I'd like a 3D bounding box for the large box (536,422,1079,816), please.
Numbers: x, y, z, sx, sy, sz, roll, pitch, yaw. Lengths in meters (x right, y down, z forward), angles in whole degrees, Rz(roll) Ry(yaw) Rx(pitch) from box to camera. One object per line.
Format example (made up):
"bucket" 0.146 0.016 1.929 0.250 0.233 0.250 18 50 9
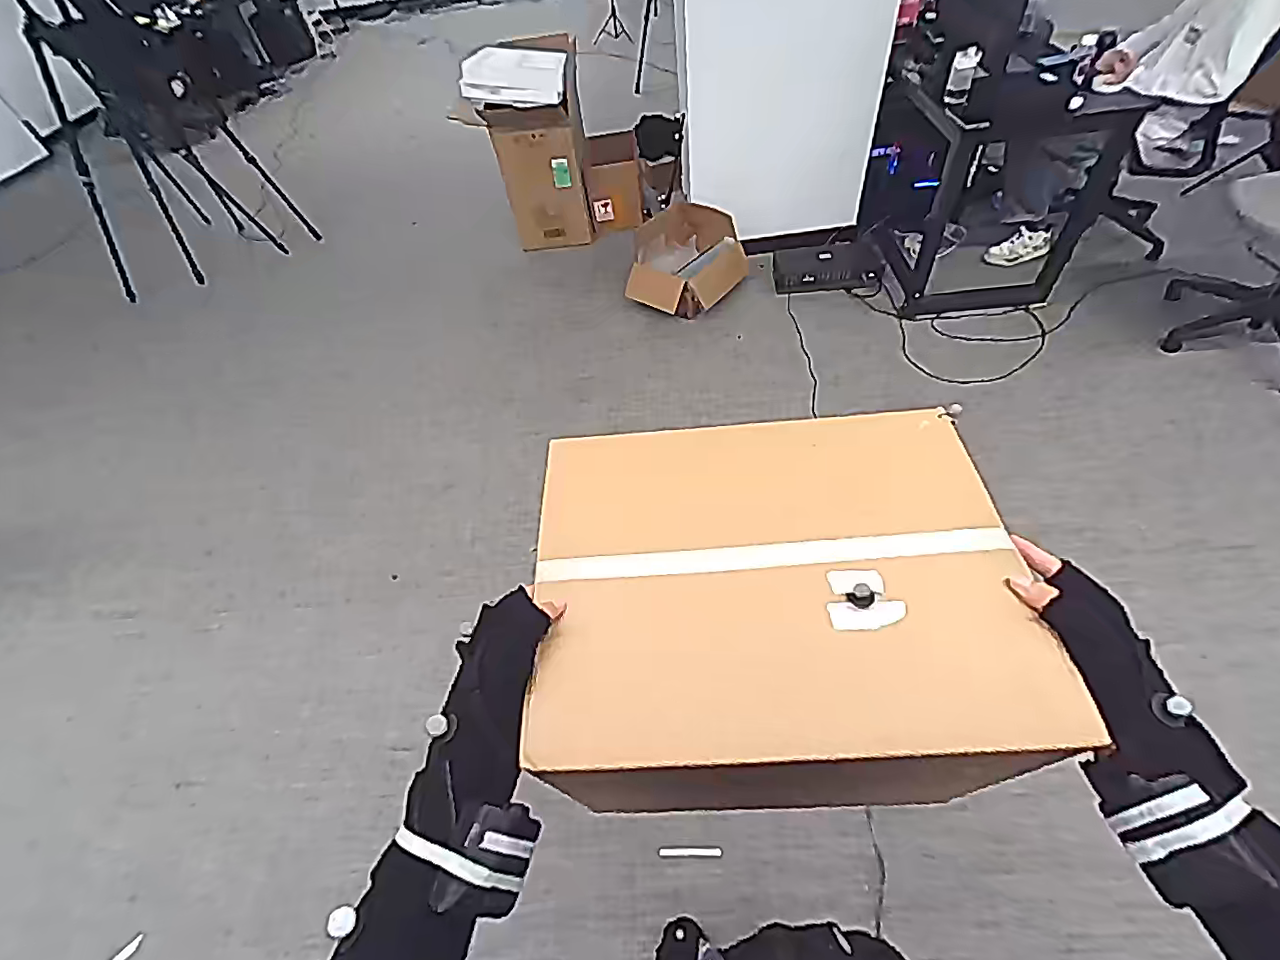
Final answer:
"large box" 0.125 0.167 0.601 0.408 0.320 0.320 -5 53 4
